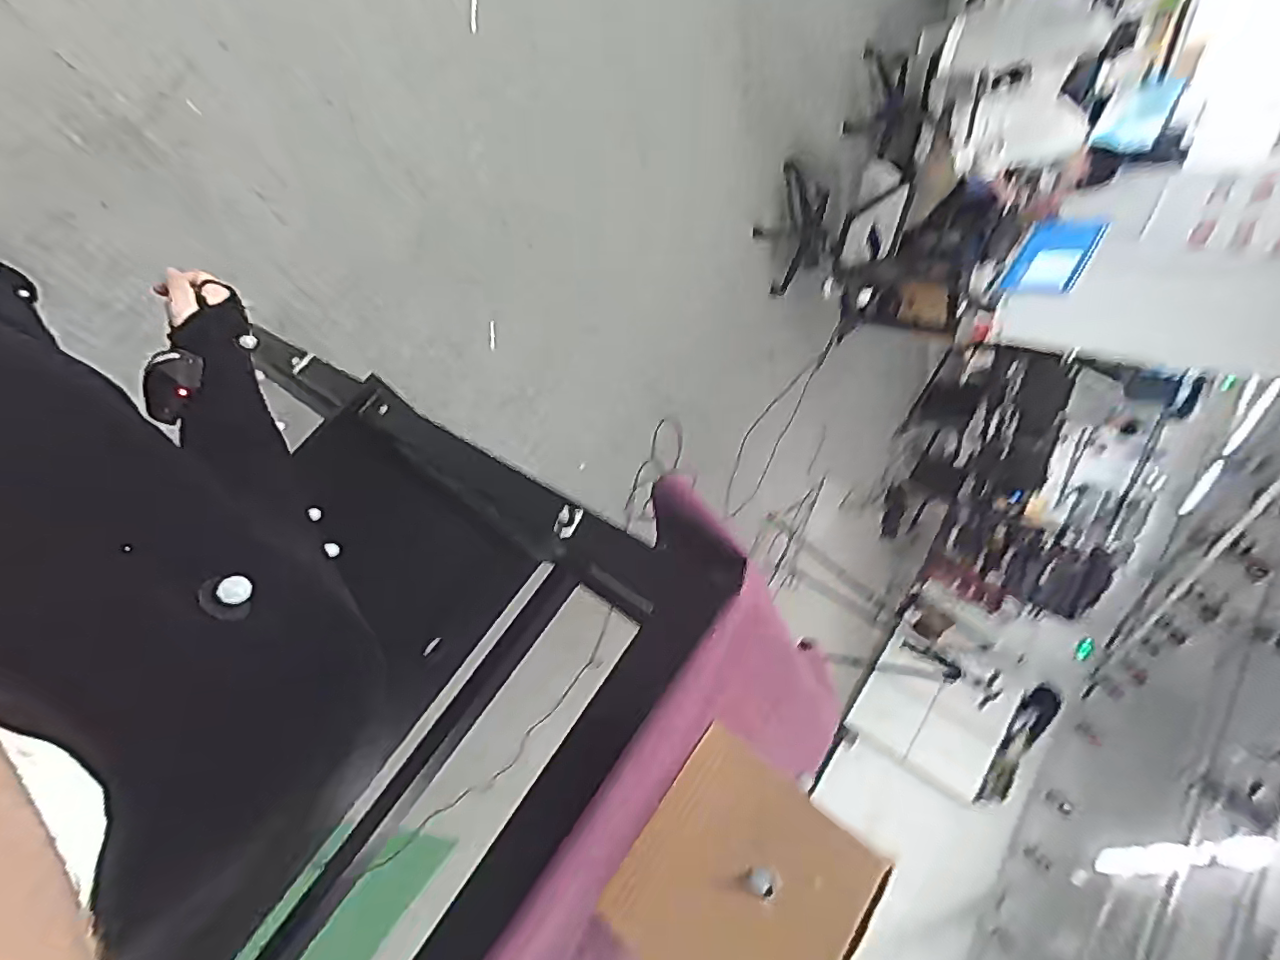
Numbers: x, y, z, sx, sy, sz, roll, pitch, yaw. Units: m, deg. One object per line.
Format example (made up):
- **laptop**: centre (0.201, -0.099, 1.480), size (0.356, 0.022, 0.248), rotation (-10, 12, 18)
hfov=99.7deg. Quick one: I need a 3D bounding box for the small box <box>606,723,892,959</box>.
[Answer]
- **small box**: centre (0.102, 0.350, 0.478), size (0.179, 0.176, 0.168), rotation (-52, 140, -17)
